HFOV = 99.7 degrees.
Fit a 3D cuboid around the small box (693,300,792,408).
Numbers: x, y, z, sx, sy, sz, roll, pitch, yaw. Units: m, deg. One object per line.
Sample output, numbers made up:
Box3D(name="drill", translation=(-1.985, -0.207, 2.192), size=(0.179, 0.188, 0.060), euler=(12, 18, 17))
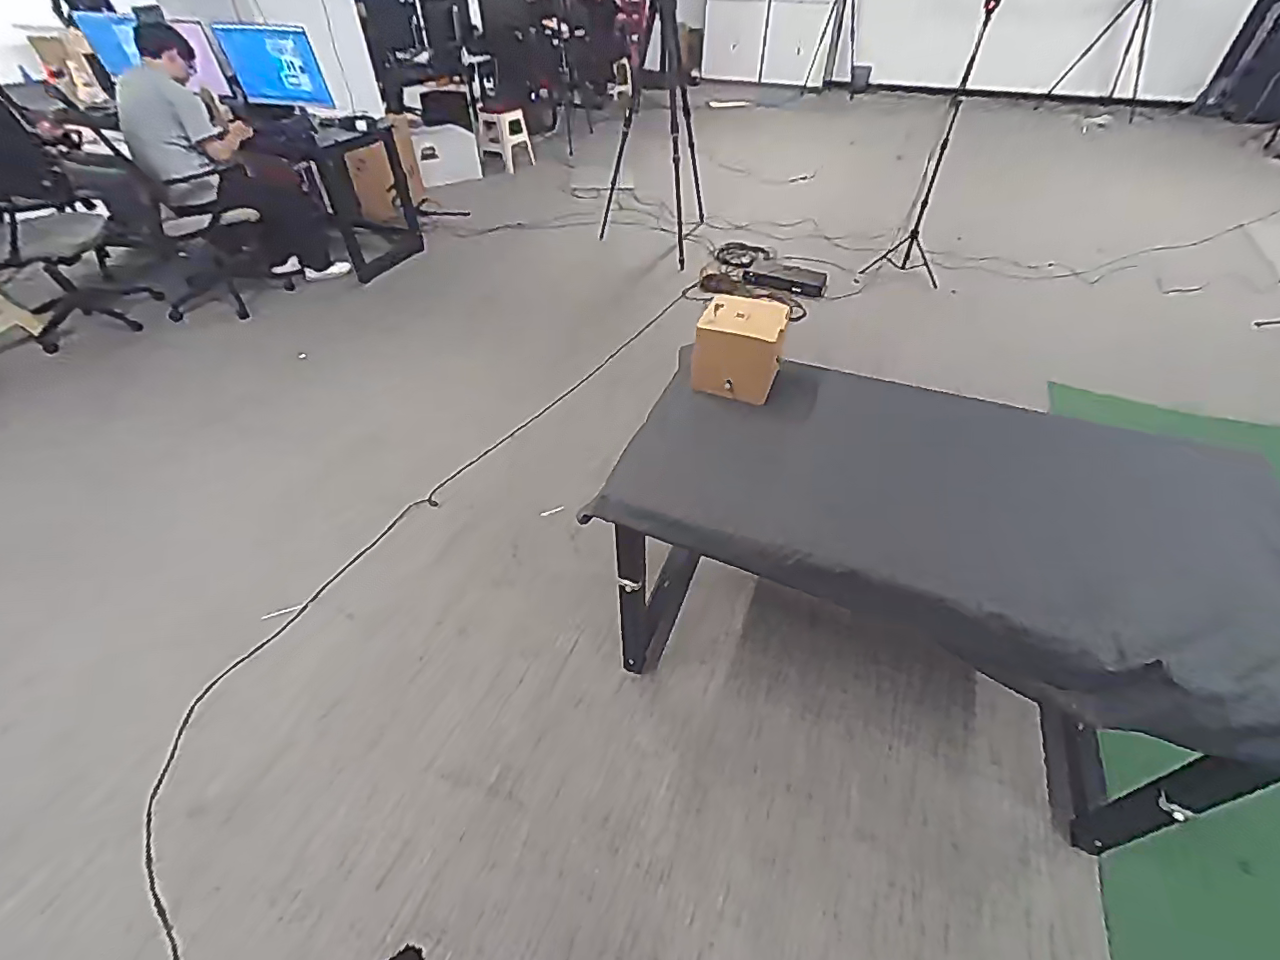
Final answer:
Box3D(name="small box", translation=(0.233, -0.288, 1.252), size=(0.179, 0.176, 0.168), euler=(17, 47, 15))
